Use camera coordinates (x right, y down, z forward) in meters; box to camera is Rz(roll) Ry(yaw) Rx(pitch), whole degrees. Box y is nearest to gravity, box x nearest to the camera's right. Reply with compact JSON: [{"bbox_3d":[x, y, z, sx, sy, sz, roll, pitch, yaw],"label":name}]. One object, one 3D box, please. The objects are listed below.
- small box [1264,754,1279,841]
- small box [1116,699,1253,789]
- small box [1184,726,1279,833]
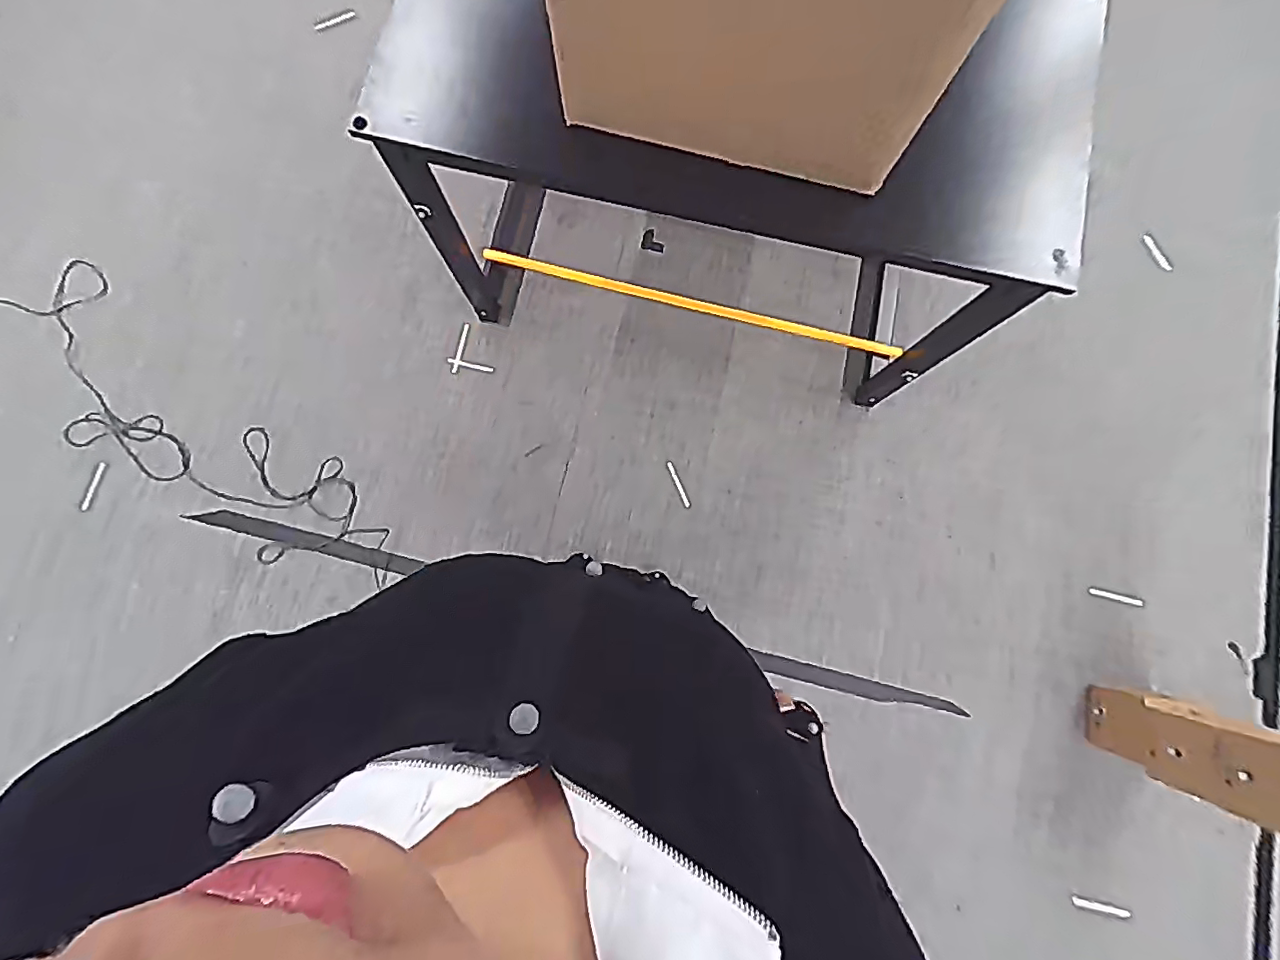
[{"bbox_3d":[1.333,0.628,0.995,0.179,0.176,0.168,11,81,0],"label":"small box"},{"bbox_3d":[1.328,0.648,1.325,0.179,0.176,0.168,7,81,1],"label":"small box"},{"bbox_3d":[1.327,0.642,1.160,0.179,0.176,0.168,6,81,0],"label":"small box"}]
